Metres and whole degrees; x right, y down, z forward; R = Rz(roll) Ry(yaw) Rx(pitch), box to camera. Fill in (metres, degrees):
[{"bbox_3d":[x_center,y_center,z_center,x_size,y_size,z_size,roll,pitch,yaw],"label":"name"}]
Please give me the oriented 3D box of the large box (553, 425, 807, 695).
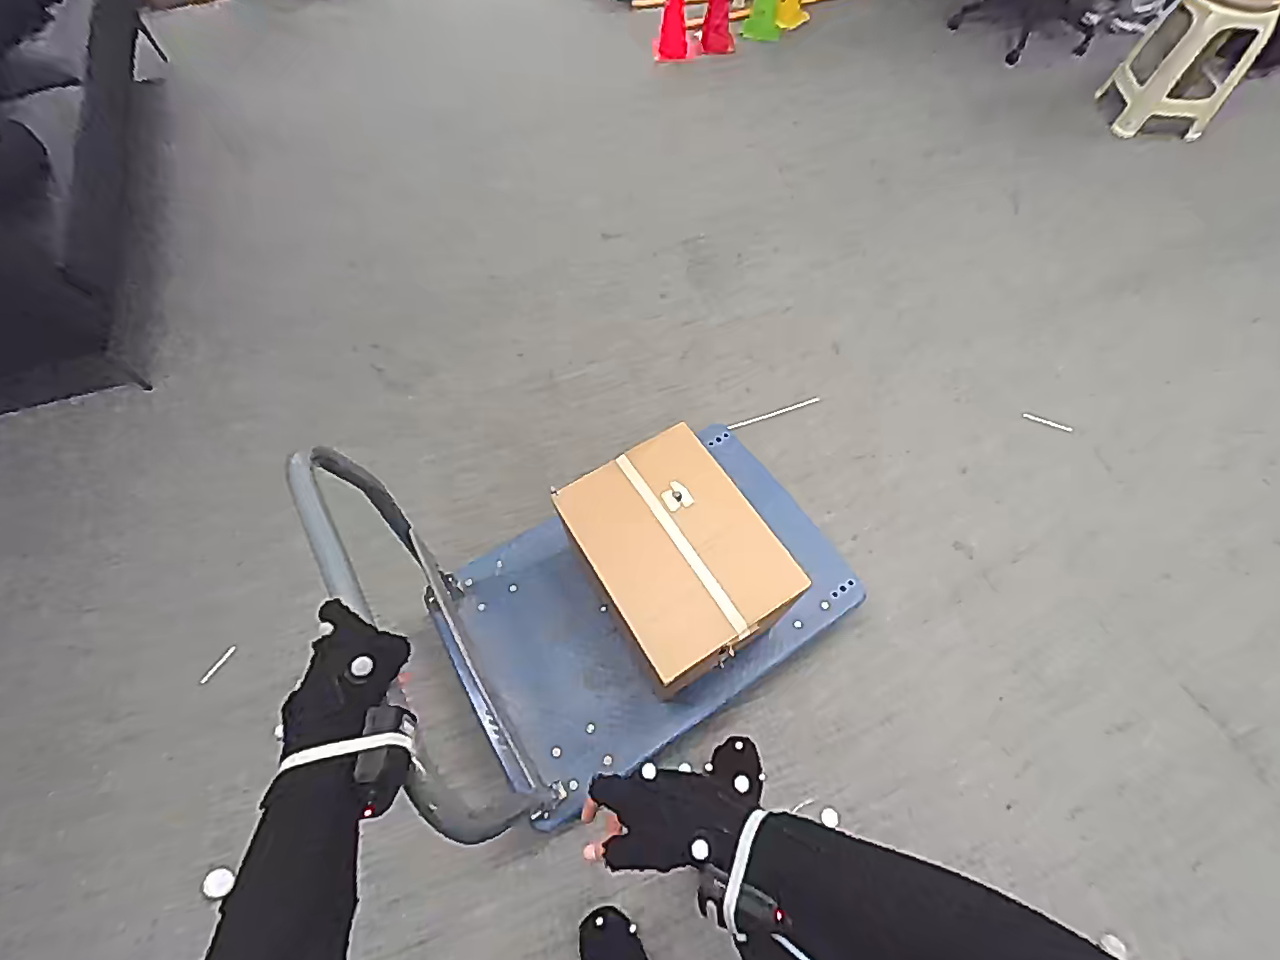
[{"bbox_3d":[0.071,0.173,1.130,0.320,0.320,0.408,-30,65,-14],"label":"large box"}]
